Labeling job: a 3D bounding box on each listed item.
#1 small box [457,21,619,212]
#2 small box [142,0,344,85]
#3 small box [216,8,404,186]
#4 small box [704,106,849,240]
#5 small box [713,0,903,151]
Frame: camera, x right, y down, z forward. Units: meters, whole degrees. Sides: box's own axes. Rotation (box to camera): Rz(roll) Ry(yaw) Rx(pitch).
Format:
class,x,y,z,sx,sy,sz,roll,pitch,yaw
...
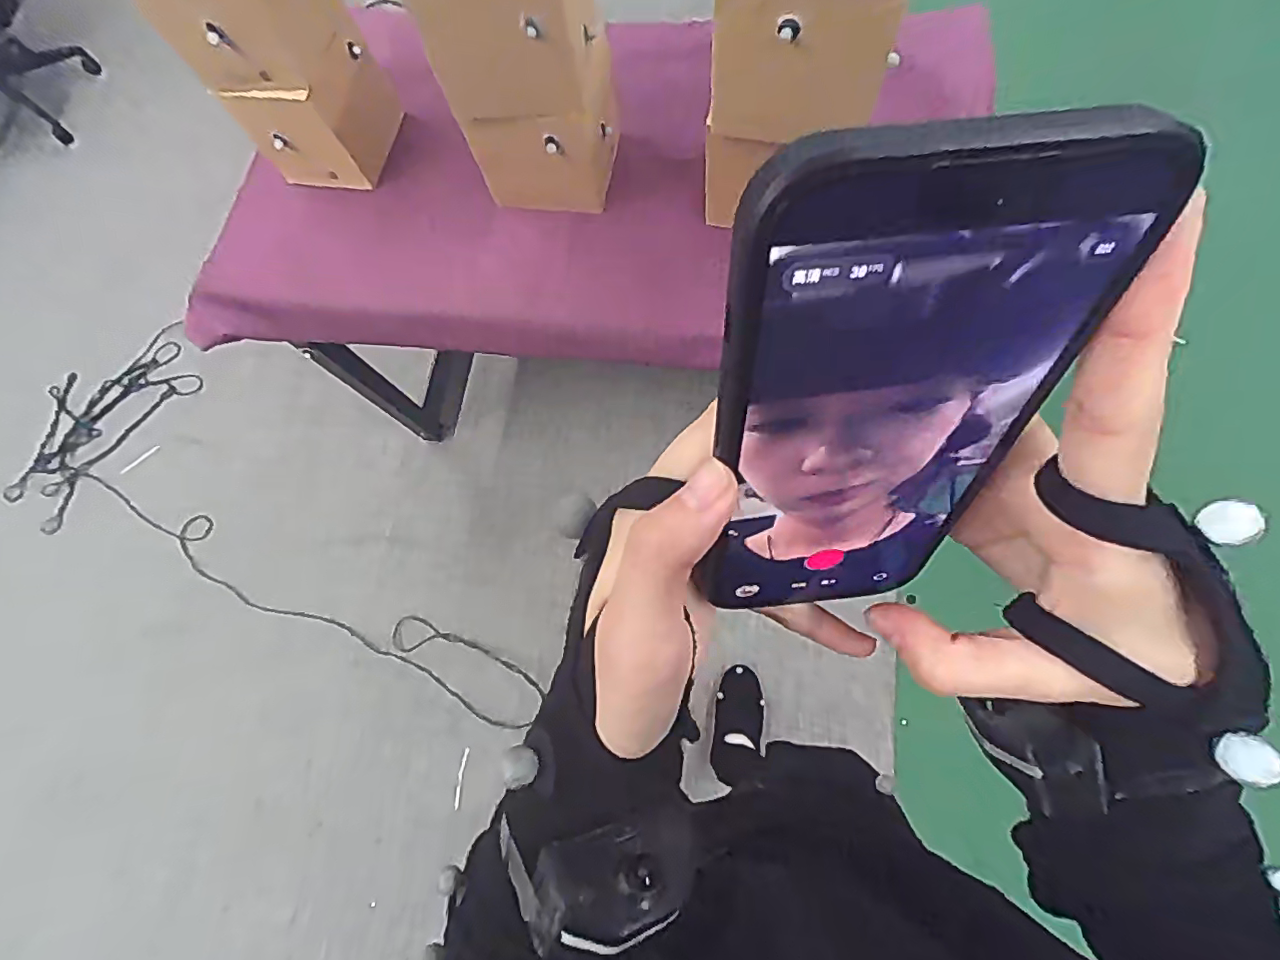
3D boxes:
class,x,y,z,sx,sy,sz,roll,pitch,yaw
small box,-0.136,-0.526,0.799,0.179,0.176,0.168,9,74,9
small box,-0.529,-0.661,0.715,0.168,0.176,0.179,5,75,7
small box,-0.512,-0.606,0.869,0.168,0.176,0.179,10,75,9
small box,0.194,-0.460,0.743,0.179,0.176,0.168,15,75,12
small box,0.181,-0.492,0.582,0.179,0.176,0.168,15,75,10
